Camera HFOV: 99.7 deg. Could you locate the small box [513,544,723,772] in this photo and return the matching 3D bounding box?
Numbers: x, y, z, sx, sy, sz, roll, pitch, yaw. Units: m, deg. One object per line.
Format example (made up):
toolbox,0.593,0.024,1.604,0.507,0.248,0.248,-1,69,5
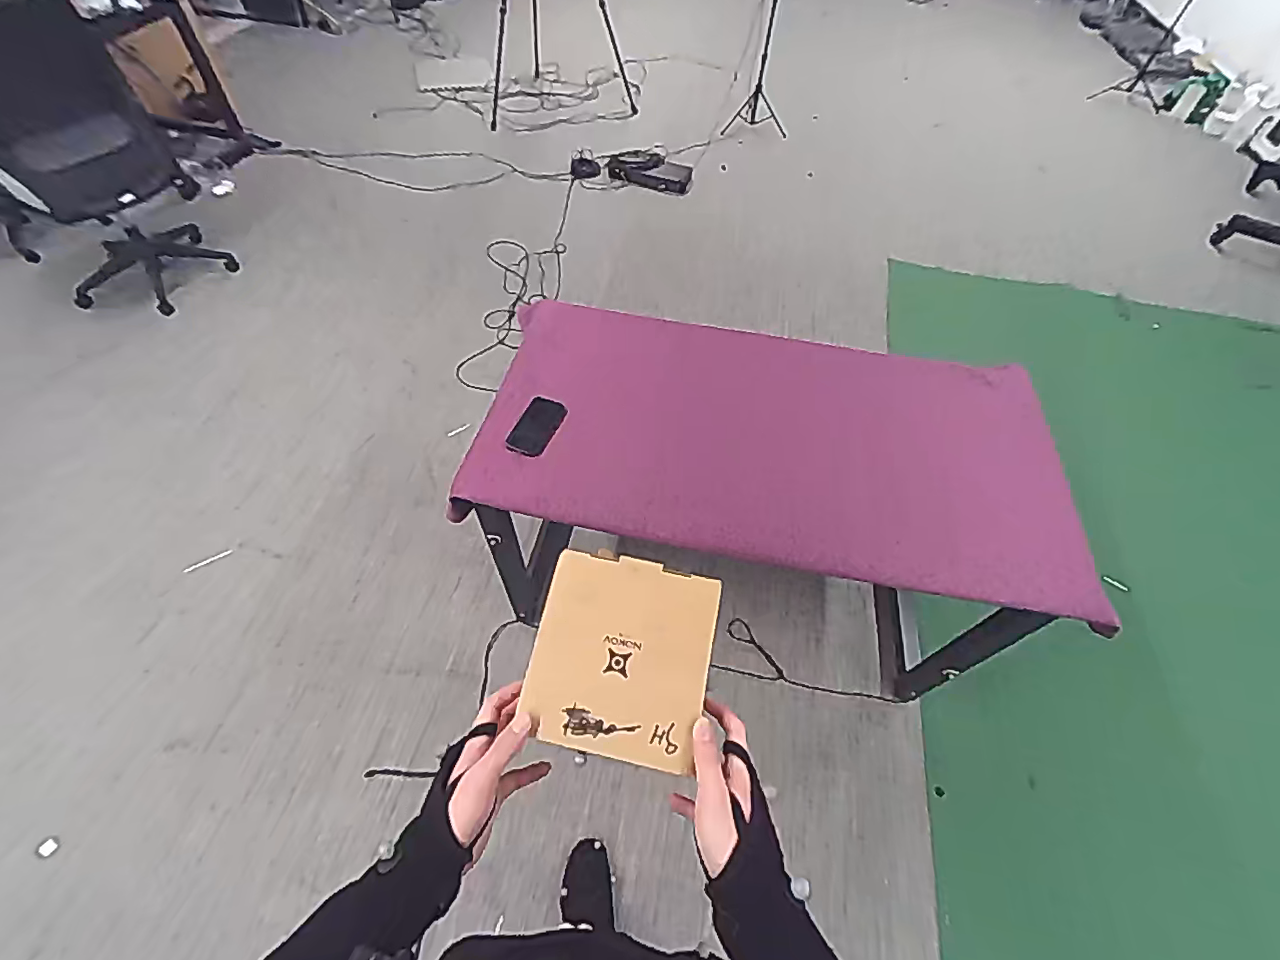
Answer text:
small box,-0.013,0.189,0.574,0.168,0.176,0.179,10,67,8
